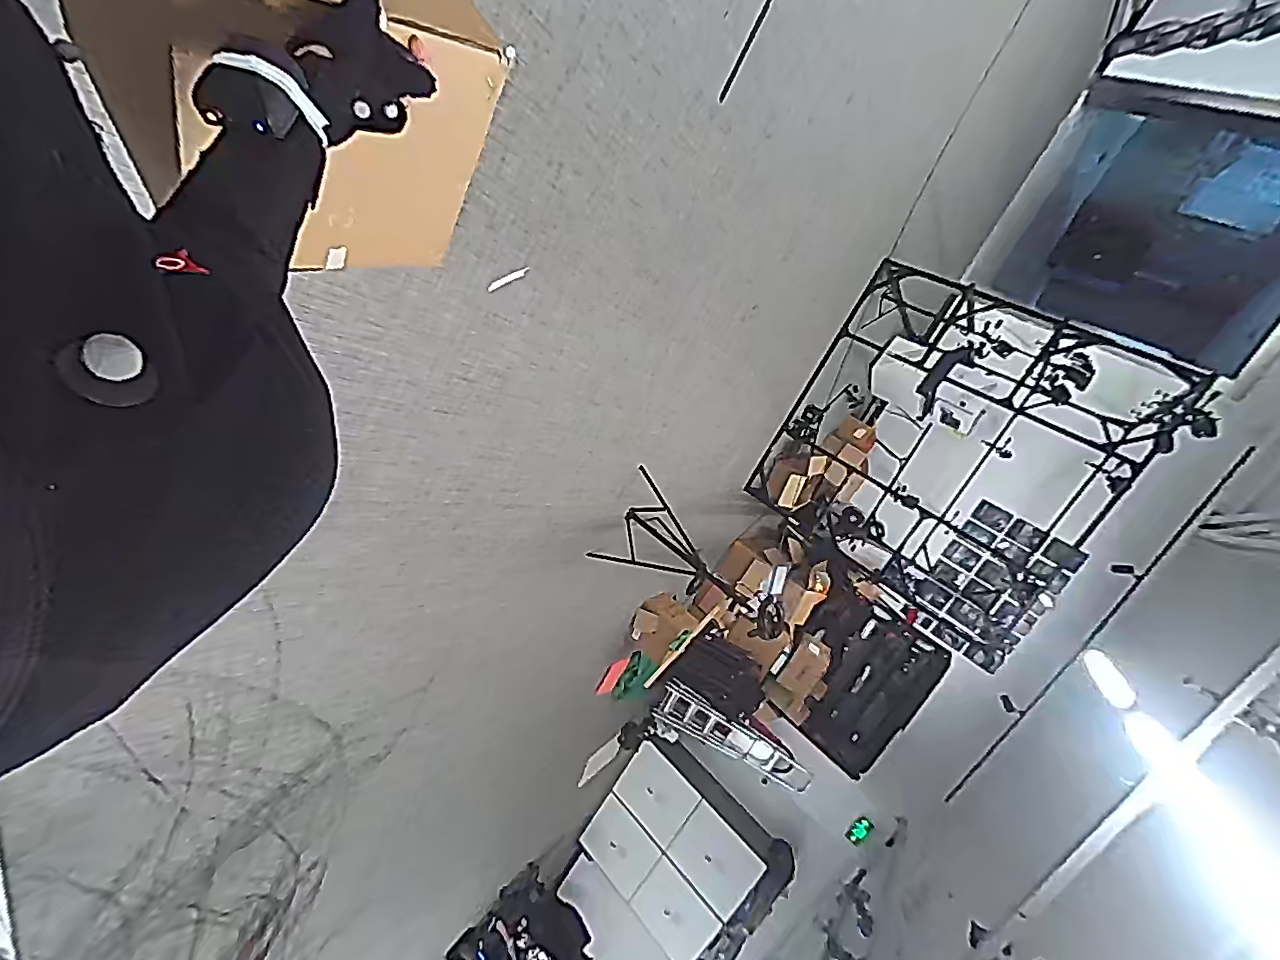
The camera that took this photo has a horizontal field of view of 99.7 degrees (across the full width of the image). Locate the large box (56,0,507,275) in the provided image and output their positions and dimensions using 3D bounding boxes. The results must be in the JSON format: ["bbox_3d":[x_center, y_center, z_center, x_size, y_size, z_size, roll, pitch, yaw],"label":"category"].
[{"bbox_3d":[-0.436,-0.515,0.646,0.320,0.408,0.320,-26,169,-43],"label":"large box"}]
